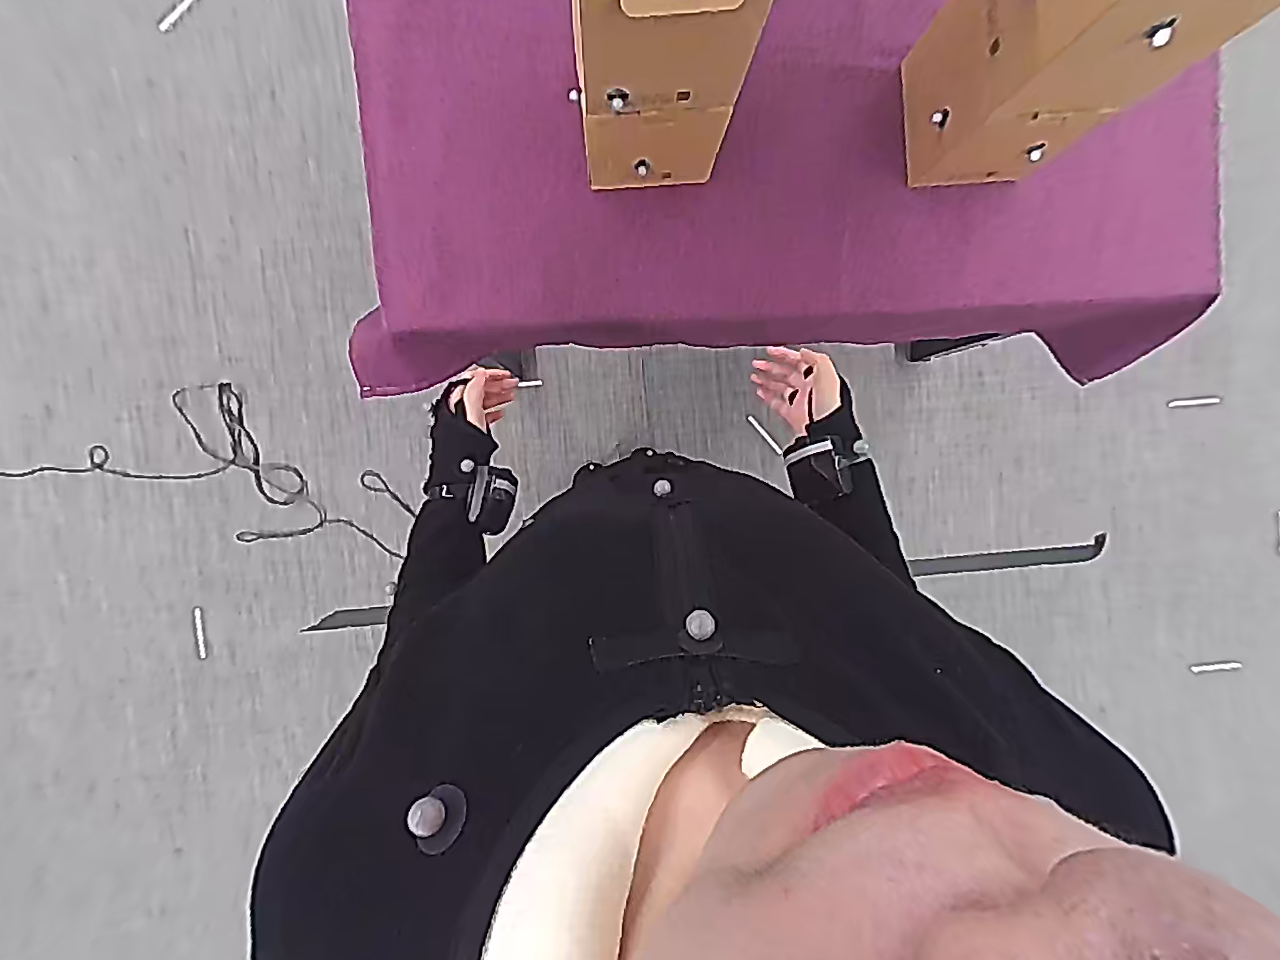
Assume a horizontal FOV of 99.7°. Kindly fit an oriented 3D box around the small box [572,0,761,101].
[{"bbox_3d":[0.018,-0.485,0.500,0.168,0.176,0.179,-7,94,-3],"label":"small box"}]

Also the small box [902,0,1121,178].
[{"bbox_3d":[0.457,-0.507,0.688,0.168,0.176,0.179,-5,93,-3],"label":"small box"}]

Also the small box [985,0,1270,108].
[{"bbox_3d":[0.466,-0.495,0.524,0.179,0.176,0.168,-6,94,-4],"label":"small box"}]

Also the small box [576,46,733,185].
[{"bbox_3d":[0.009,-0.494,0.664,0.168,0.176,0.179,-6,94,-3],"label":"small box"}]
